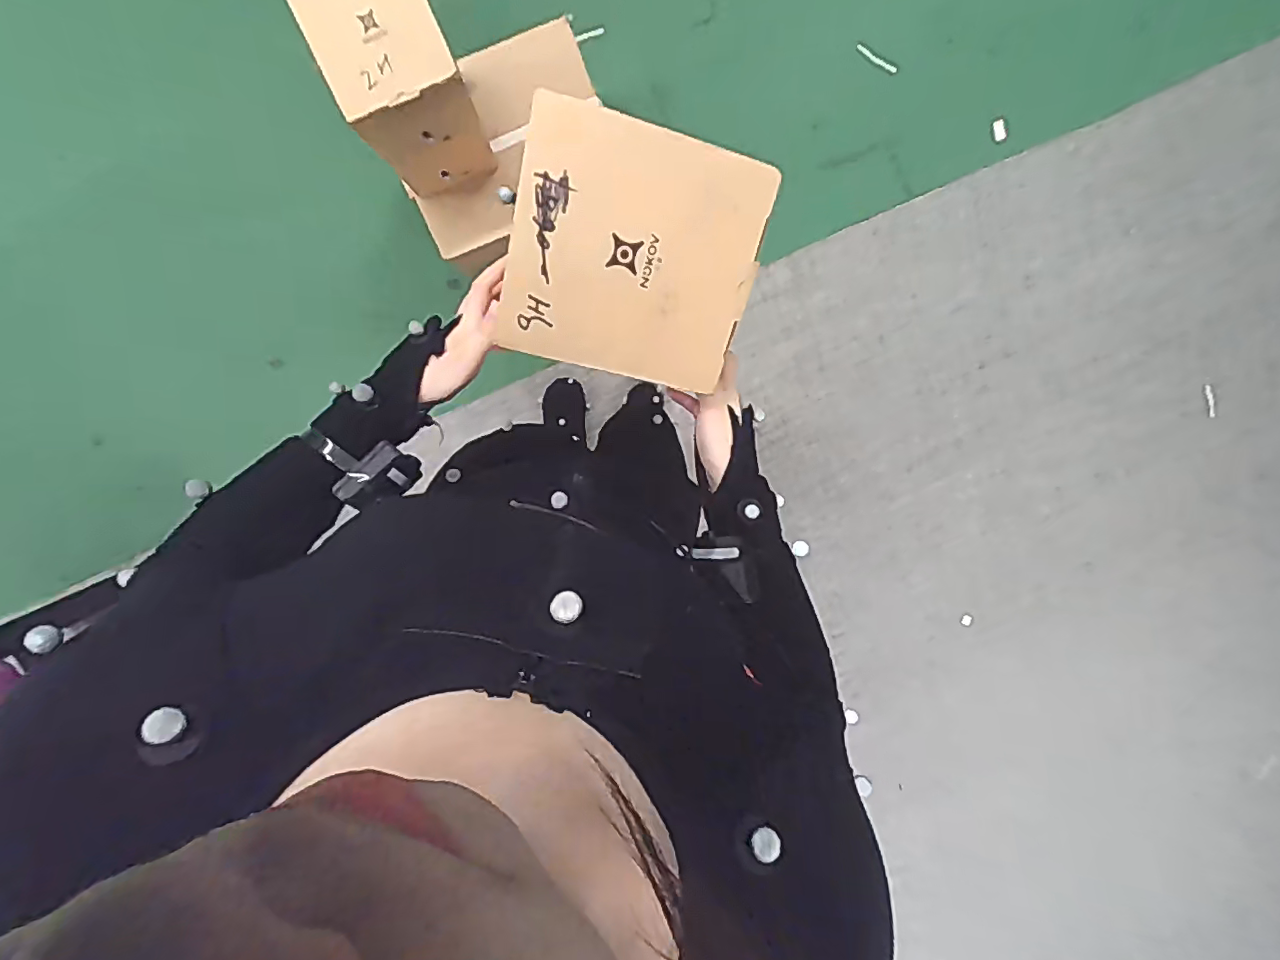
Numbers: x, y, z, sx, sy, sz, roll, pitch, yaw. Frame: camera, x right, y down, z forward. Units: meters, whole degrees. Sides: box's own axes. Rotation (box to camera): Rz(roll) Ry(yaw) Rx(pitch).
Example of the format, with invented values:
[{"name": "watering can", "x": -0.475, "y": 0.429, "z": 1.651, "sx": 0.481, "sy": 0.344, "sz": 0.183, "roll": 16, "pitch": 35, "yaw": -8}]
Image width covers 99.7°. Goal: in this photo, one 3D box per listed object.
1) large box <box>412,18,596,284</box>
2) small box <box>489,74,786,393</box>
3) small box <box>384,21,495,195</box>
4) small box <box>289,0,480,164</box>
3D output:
[{"name": "large box", "x": -0.272, "y": -0.674, "z": 1.180, "sx": 0.408, "sy": 0.320, "sz": 0.320, "roll": -23, "pitch": 103, "yaw": -1}, {"name": "small box", "x": -0.016, "y": -0.186, "z": 0.445, "sx": 0.179, "sy": 0.176, "sz": 0.168, "roll": 11, "pitch": 109, "yaw": -15}, {"name": "small box", "x": -0.369, "y": -0.630, "z": 0.933, "sx": 0.168, "sy": 0.176, "sz": 0.179, "roll": -23, "pitch": 103, "yaw": -1}, {"name": "small box", "x": -0.352, "y": -0.596, "z": 0.772, "sx": 0.168, "sy": 0.176, "sz": 0.179, "roll": -24, "pitch": 103, "yaw": 0}]
